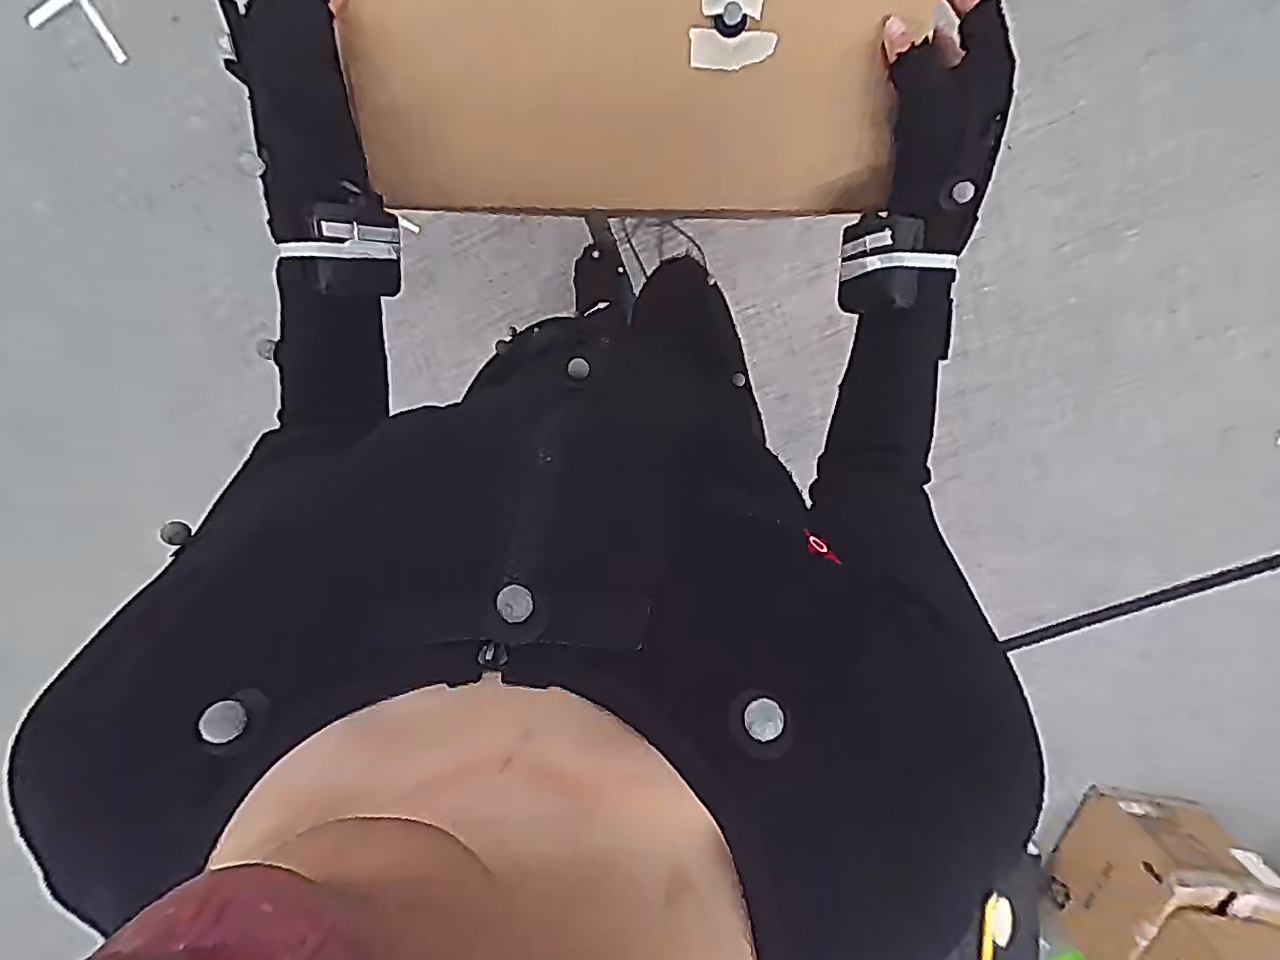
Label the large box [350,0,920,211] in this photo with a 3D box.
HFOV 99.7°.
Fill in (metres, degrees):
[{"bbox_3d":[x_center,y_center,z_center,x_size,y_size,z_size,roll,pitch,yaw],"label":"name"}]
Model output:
[{"bbox_3d":[-0.004,-0.426,0.496,0.408,0.320,0.320,1,115,0],"label":"large box"}]
